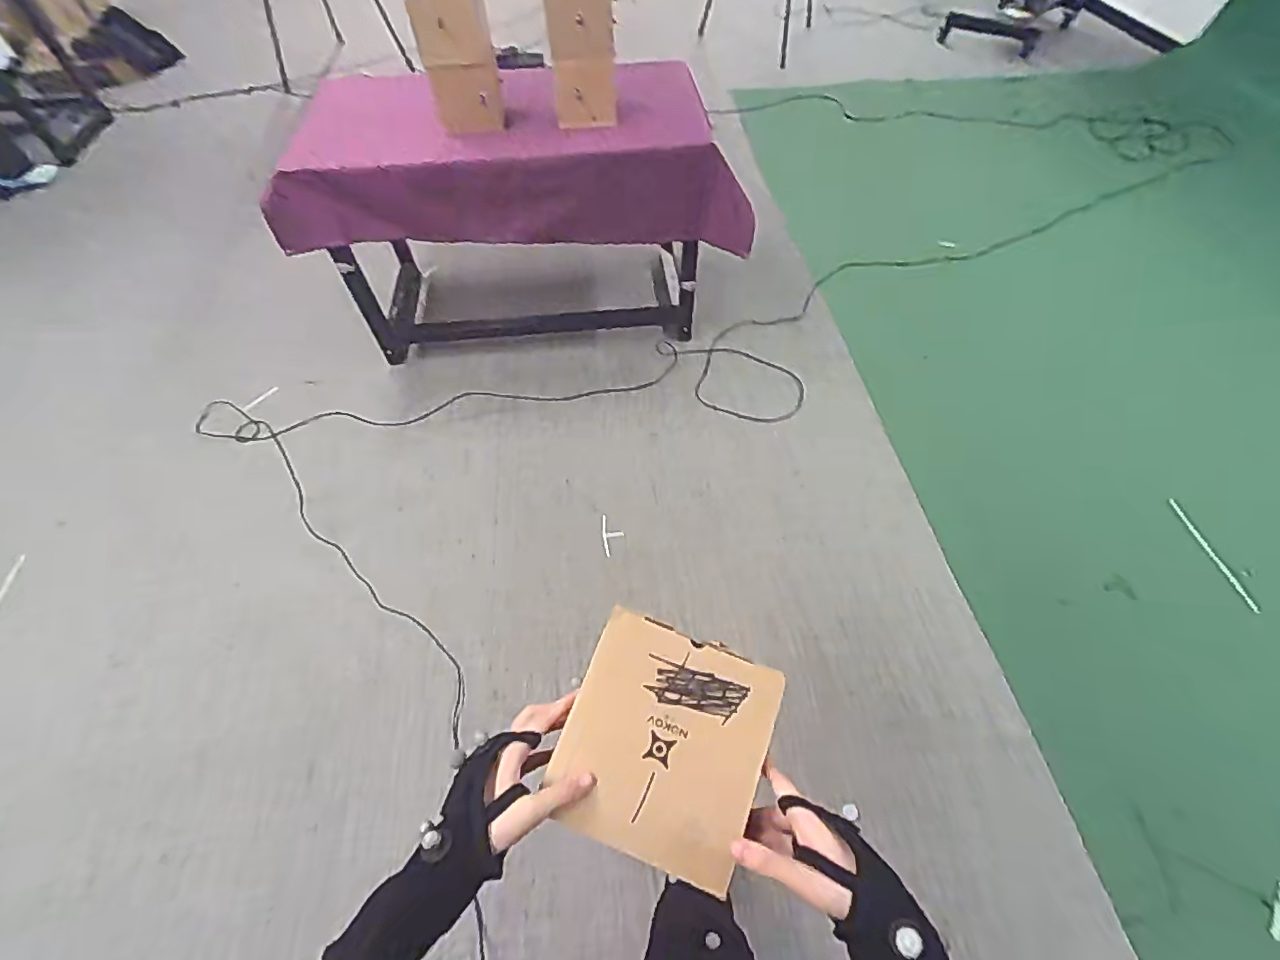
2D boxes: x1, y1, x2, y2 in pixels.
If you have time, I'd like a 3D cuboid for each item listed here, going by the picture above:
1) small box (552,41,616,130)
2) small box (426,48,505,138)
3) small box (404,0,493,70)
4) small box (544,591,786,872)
[{"bbox_3d":[-0.160,-1.143,1.576,0.168,0.176,0.179,-4,55,-1],"label":"small box"},{"bbox_3d":[-0.494,-1.117,1.563,0.179,0.176,0.168,-5,55,-2],"label":"small box"},{"bbox_3d":[-0.500,-1.208,1.427,0.179,0.176,0.168,-5,55,-2],"label":"small box"},{"bbox_3d":[0.023,0.234,0.533,0.168,0.176,0.179,20,69,7],"label":"small box"}]
